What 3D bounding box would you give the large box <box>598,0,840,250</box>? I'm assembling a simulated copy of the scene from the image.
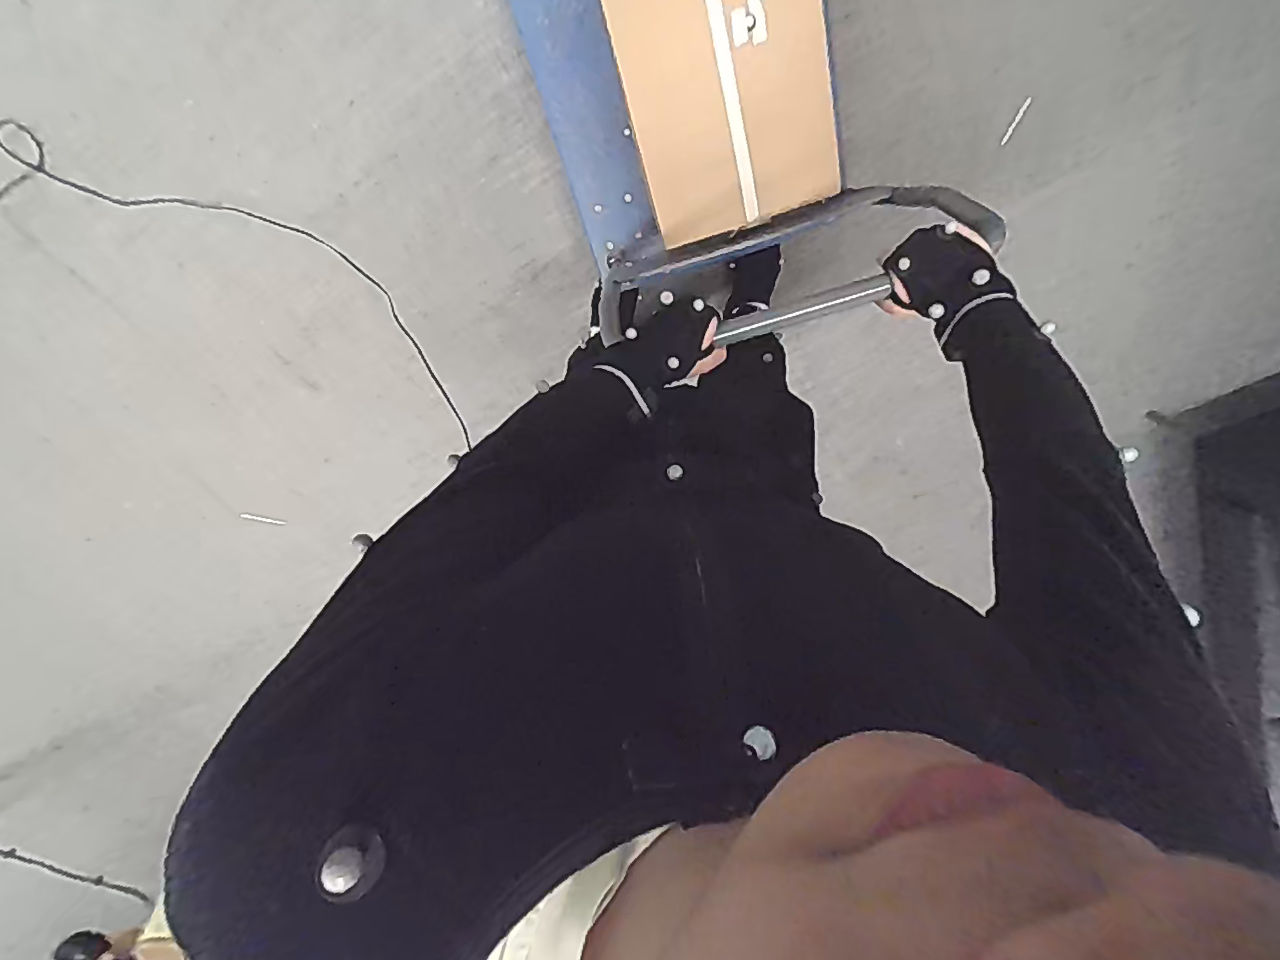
[{"bbox_3d":[0.137,-0.684,0.982,0.320,0.320,0.408,-15,117,8],"label":"large box"}]
